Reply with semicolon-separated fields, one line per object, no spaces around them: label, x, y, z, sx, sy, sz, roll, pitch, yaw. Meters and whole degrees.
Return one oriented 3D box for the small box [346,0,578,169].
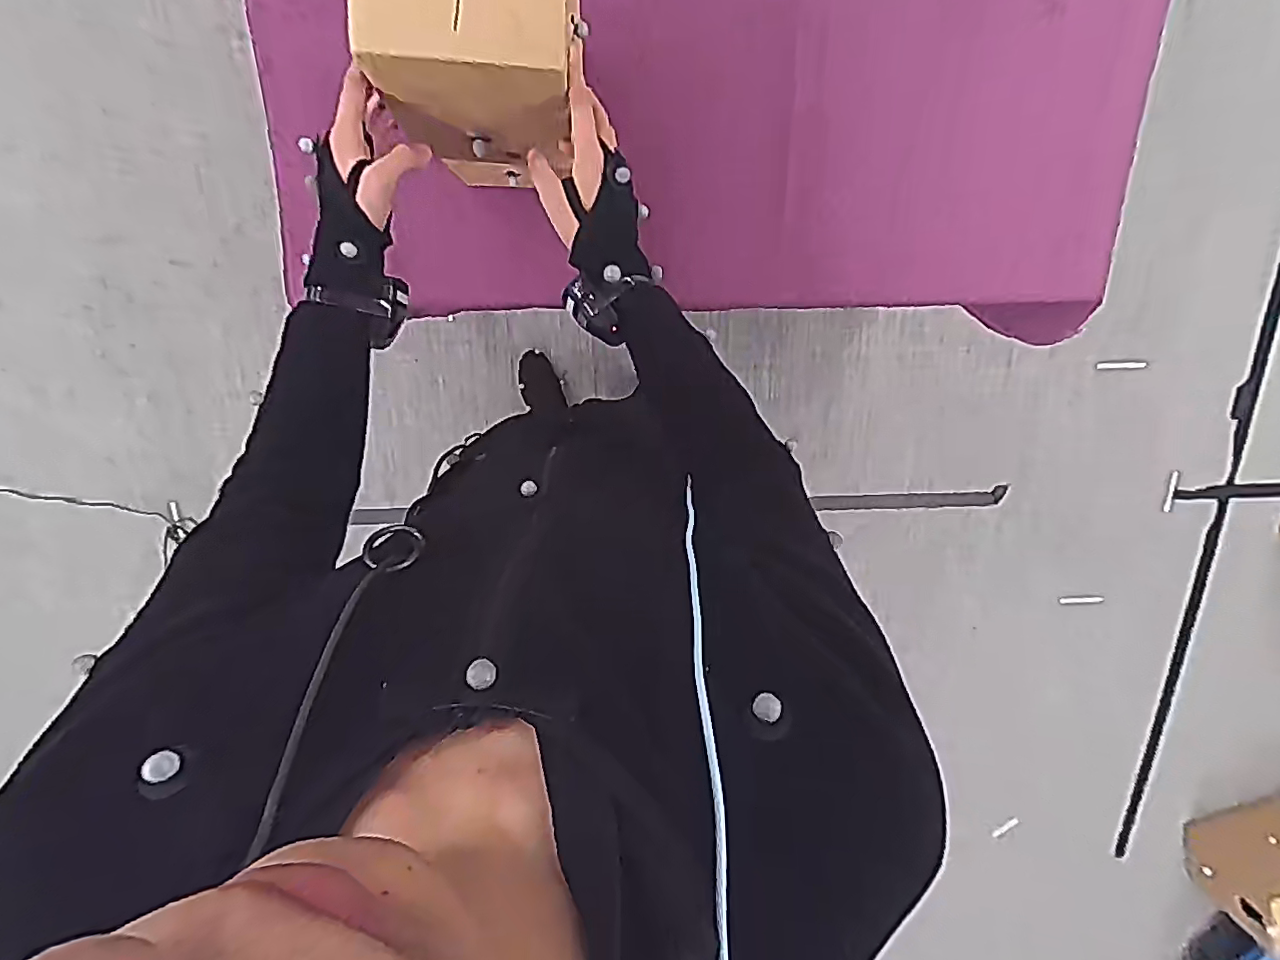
small box;-0.143;-0.417;0.486;0.168;0.176;0.179;2;94;-5

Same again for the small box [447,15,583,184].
small box;-0.156;-0.475;0.659;0.168;0.176;0.179;0;107;-4
